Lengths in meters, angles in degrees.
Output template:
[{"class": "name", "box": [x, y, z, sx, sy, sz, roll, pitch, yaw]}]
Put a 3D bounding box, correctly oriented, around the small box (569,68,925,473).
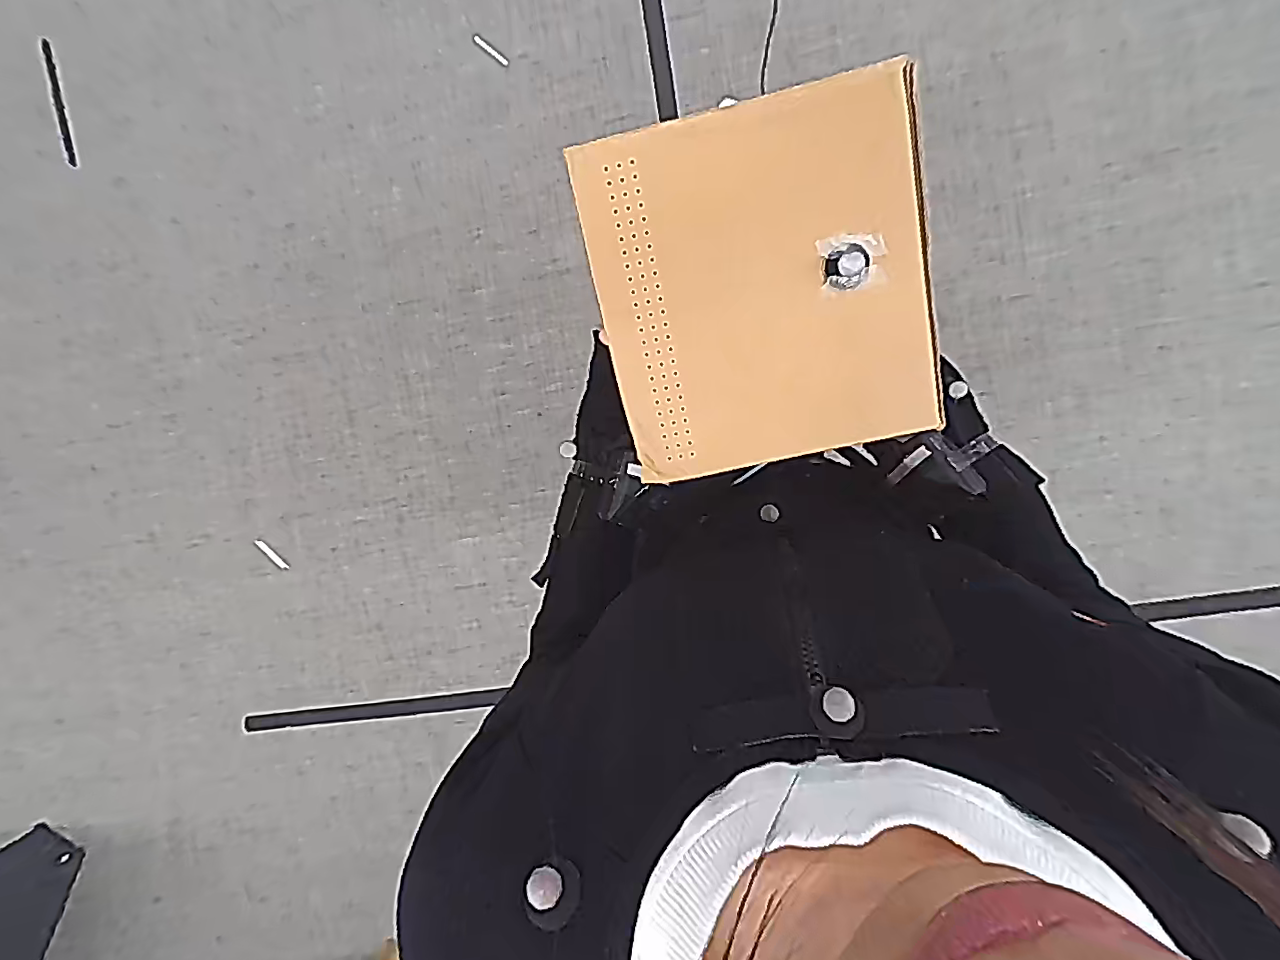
[{"class": "small box", "box": [0.060, -0.119, 0.361, 0.176, 0.168, 0.179, -11, 105, 6]}]
